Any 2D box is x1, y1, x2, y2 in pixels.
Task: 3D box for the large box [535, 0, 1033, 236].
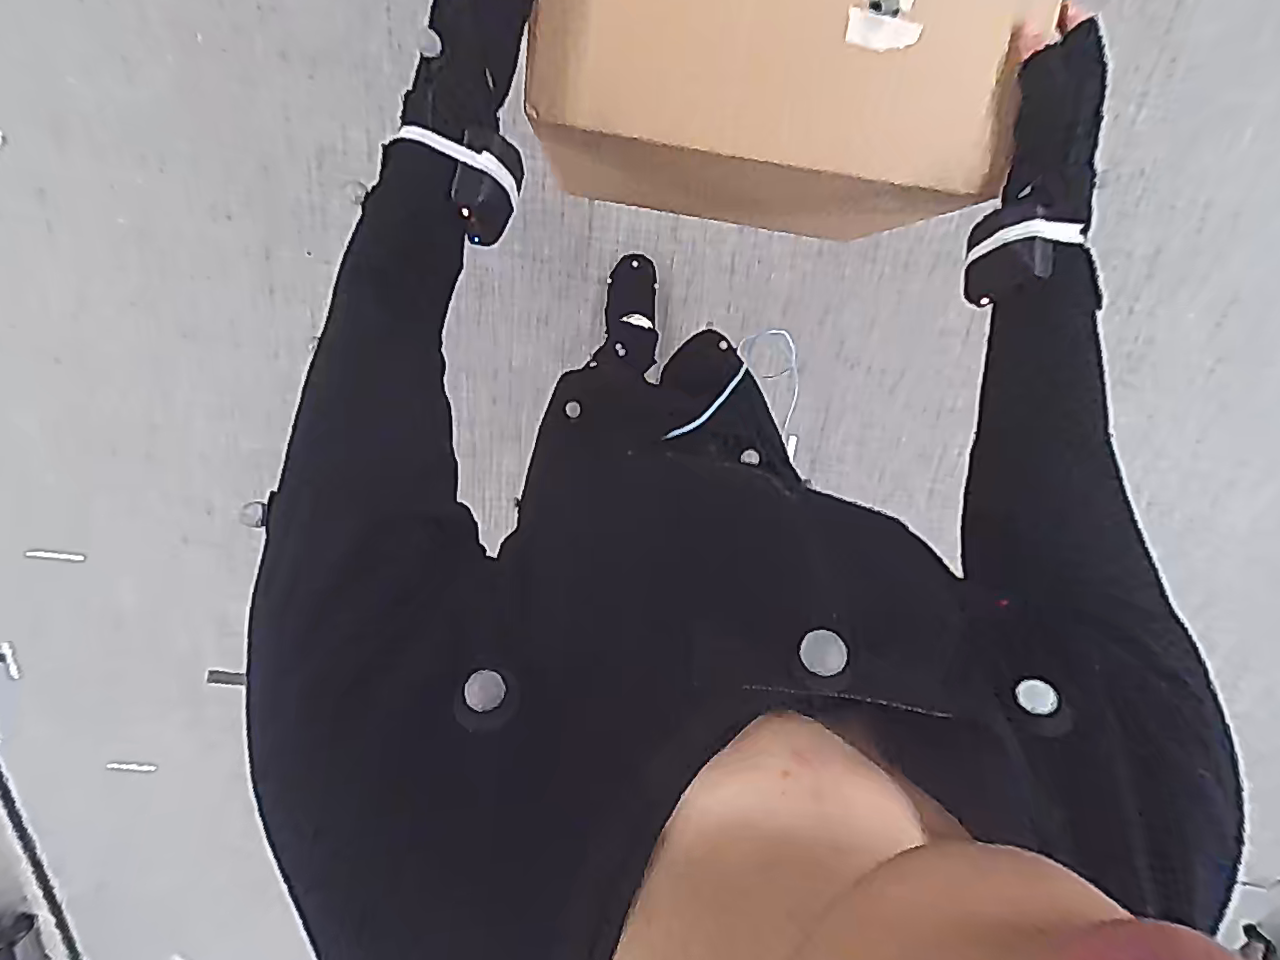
[{"bbox_3d":[0.116,-0.466,0.563,0.408,0.320,0.320,7,108,-6],"label":"large box"}]
